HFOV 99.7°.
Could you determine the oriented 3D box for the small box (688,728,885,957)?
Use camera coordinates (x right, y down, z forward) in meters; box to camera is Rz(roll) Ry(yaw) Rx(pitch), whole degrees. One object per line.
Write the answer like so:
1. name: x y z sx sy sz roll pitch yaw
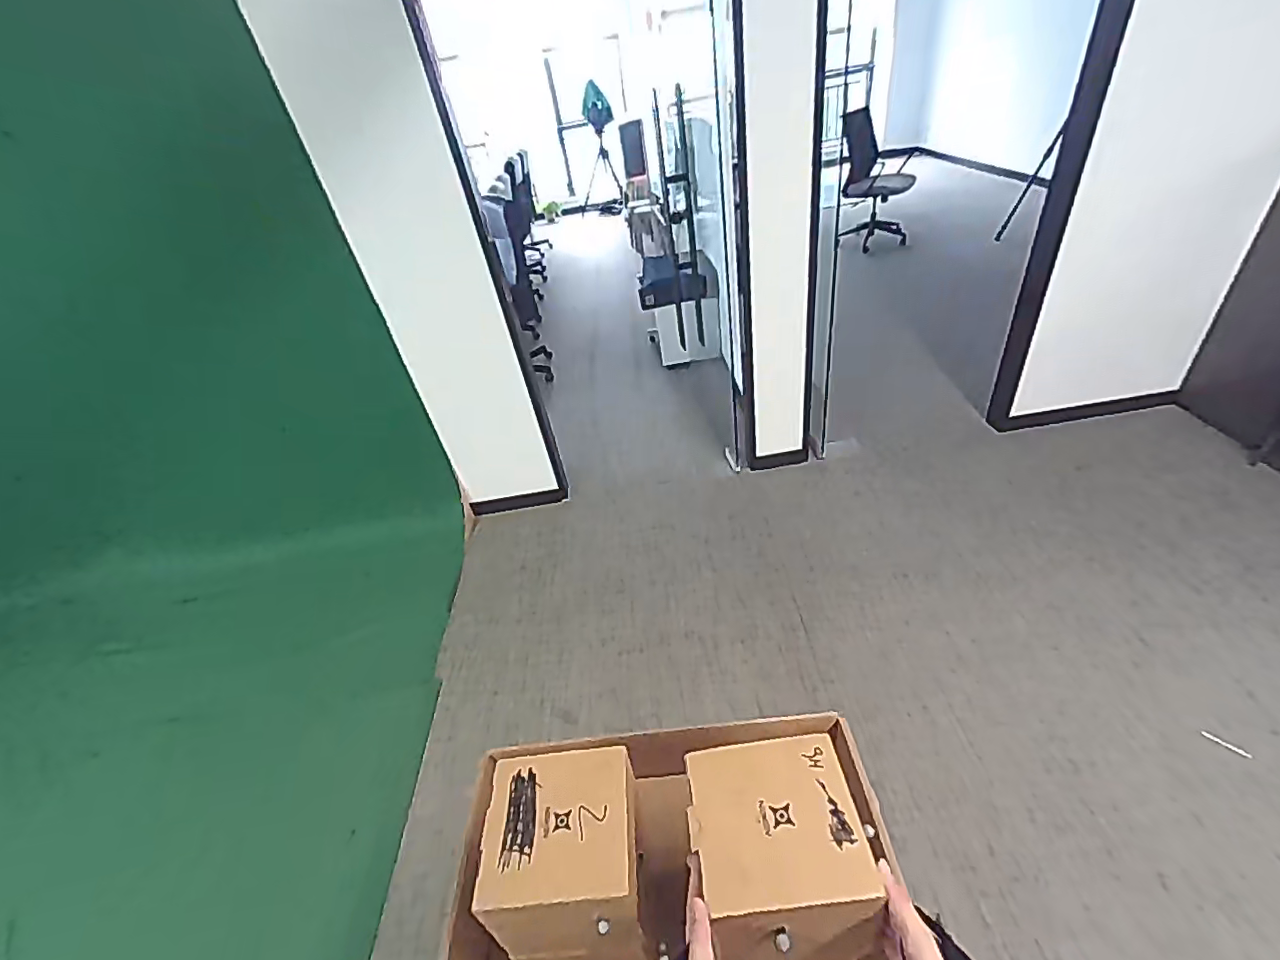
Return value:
1. small box: 0.161 0.418 0.624 0.179 0.176 0.168 -10 35 4
